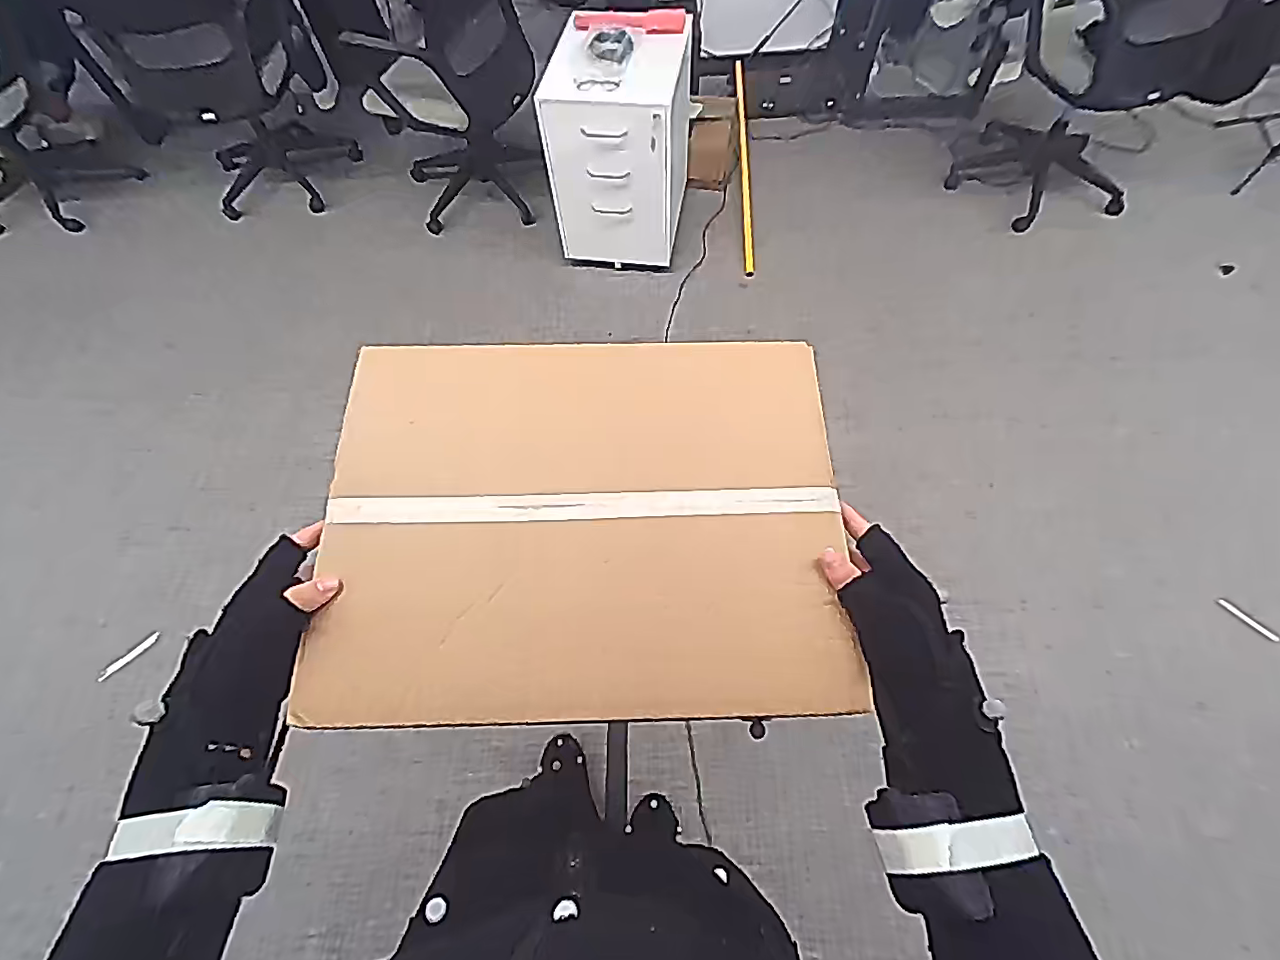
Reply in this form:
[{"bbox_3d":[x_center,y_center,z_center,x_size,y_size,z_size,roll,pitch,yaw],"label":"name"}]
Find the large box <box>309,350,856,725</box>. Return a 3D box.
[{"bbox_3d":[-0.045,0.079,0.581,0.408,0.320,0.320,-1,68,-2],"label":"large box"}]
